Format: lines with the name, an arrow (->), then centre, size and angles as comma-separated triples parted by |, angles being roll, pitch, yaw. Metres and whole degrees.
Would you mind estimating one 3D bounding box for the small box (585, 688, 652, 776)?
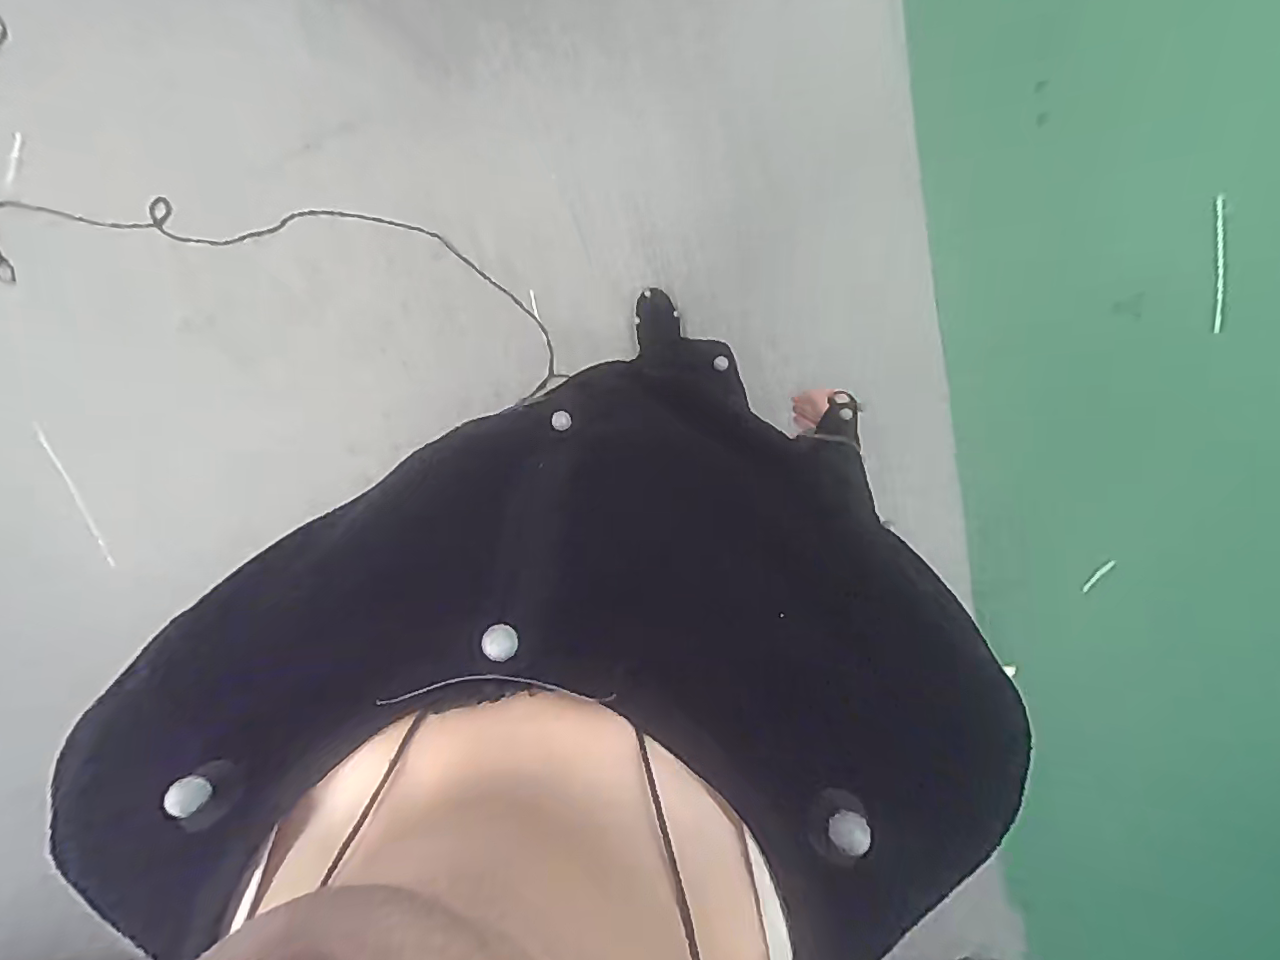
small box -> -0.059, 0.742, 1.612 | 0.168, 0.176, 0.179 | -9, 104, 6
